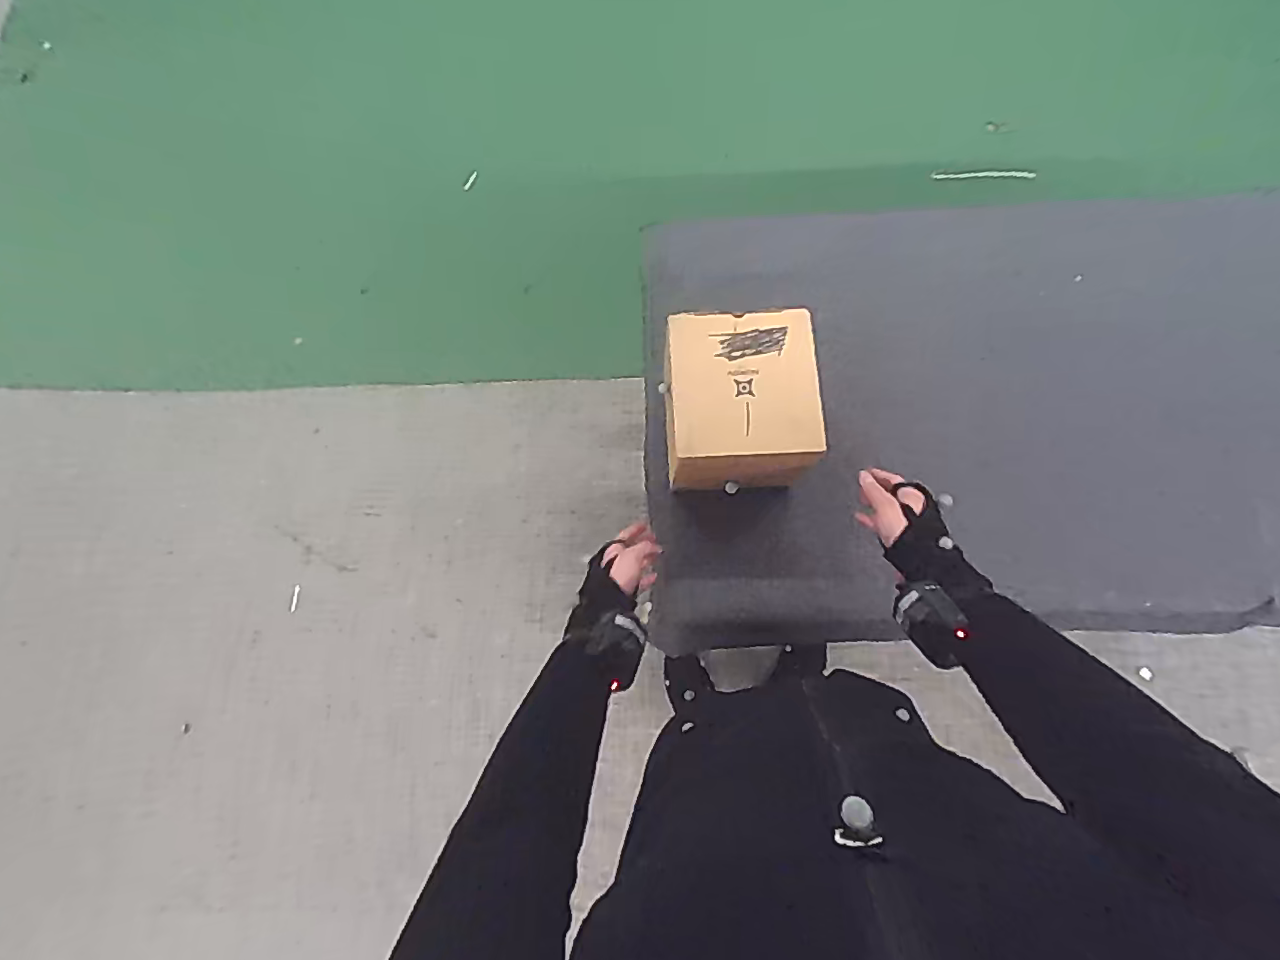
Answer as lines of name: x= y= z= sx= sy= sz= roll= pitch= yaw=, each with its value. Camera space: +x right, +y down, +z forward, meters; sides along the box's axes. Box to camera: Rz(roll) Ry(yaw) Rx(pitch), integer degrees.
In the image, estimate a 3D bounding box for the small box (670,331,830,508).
small box: x=0.126 y=-0.069 z=0.691 sx=0.168 sy=0.176 sz=0.179 roll=-3 pitch=76 yaw=1
